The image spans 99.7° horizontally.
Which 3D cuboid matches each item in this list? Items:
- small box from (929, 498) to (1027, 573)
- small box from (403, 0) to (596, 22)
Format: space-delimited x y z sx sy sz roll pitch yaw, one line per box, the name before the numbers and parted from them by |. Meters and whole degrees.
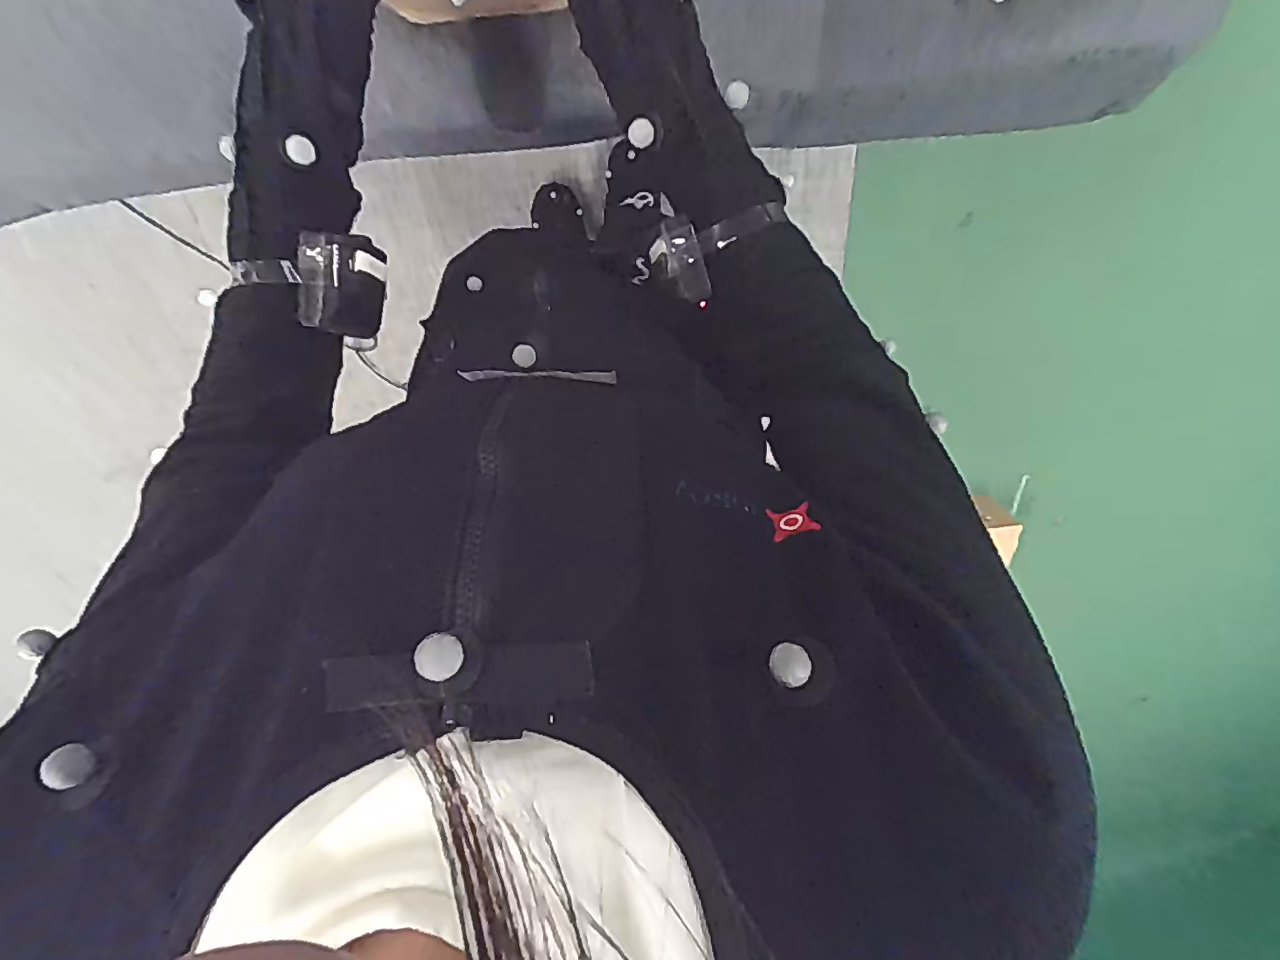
small box | 1.041 0.167 1.679 0.179 0.176 0.168 -5 121 -2
small box | -0.110 -0.427 0.346 0.168 0.176 0.179 -7 124 -1
